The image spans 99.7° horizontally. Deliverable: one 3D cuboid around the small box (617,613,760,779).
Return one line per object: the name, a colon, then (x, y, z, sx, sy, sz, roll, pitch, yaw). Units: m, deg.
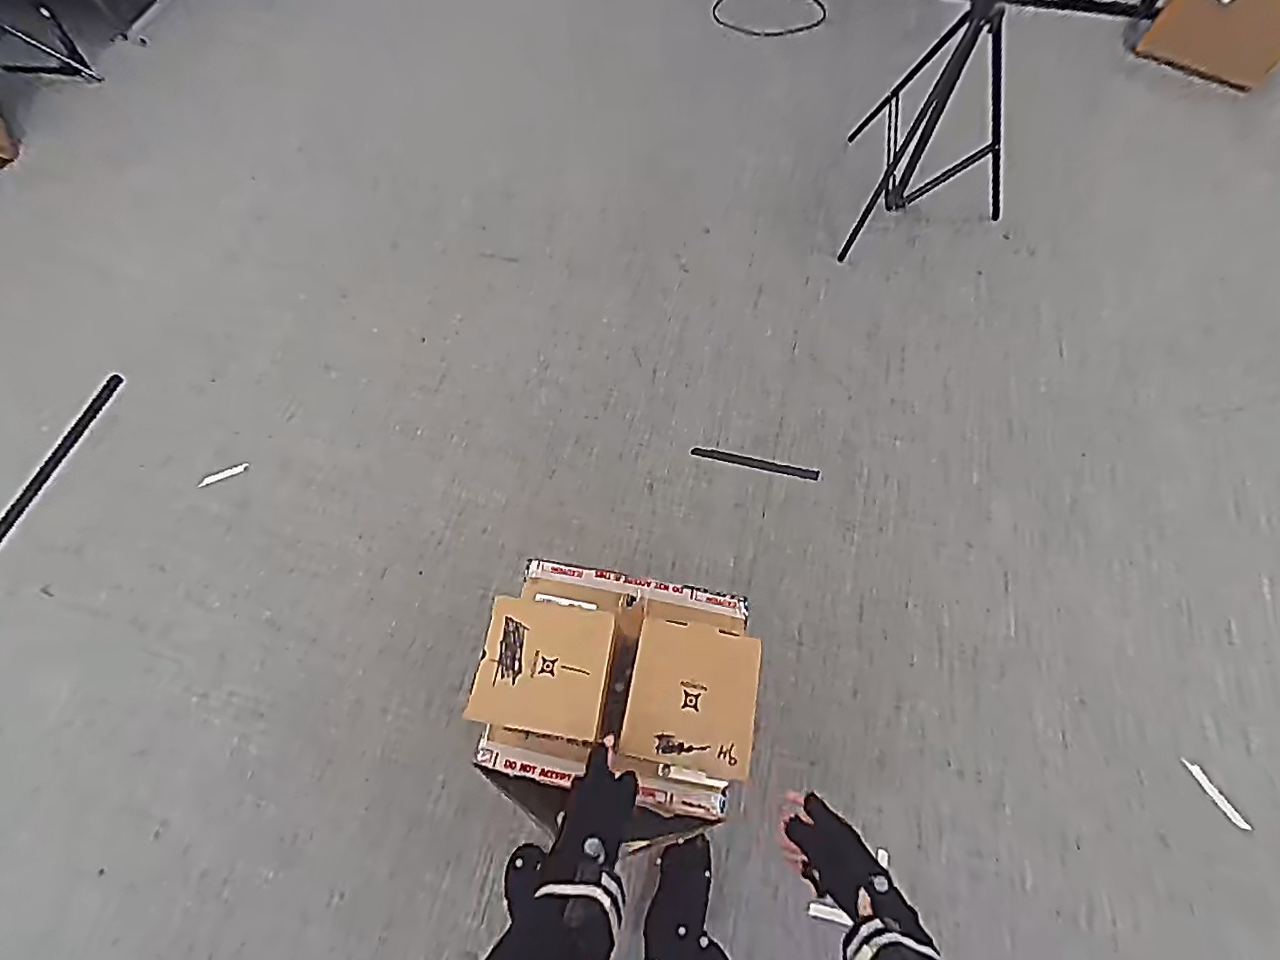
small box: (0.064, 0.307, 0.775, 0.168, 0.176, 0.179, 11, 66, 4)

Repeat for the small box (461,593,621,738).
small box: (-0.130, 0.276, 0.793, 0.179, 0.176, 0.168, 7, 66, 6)
